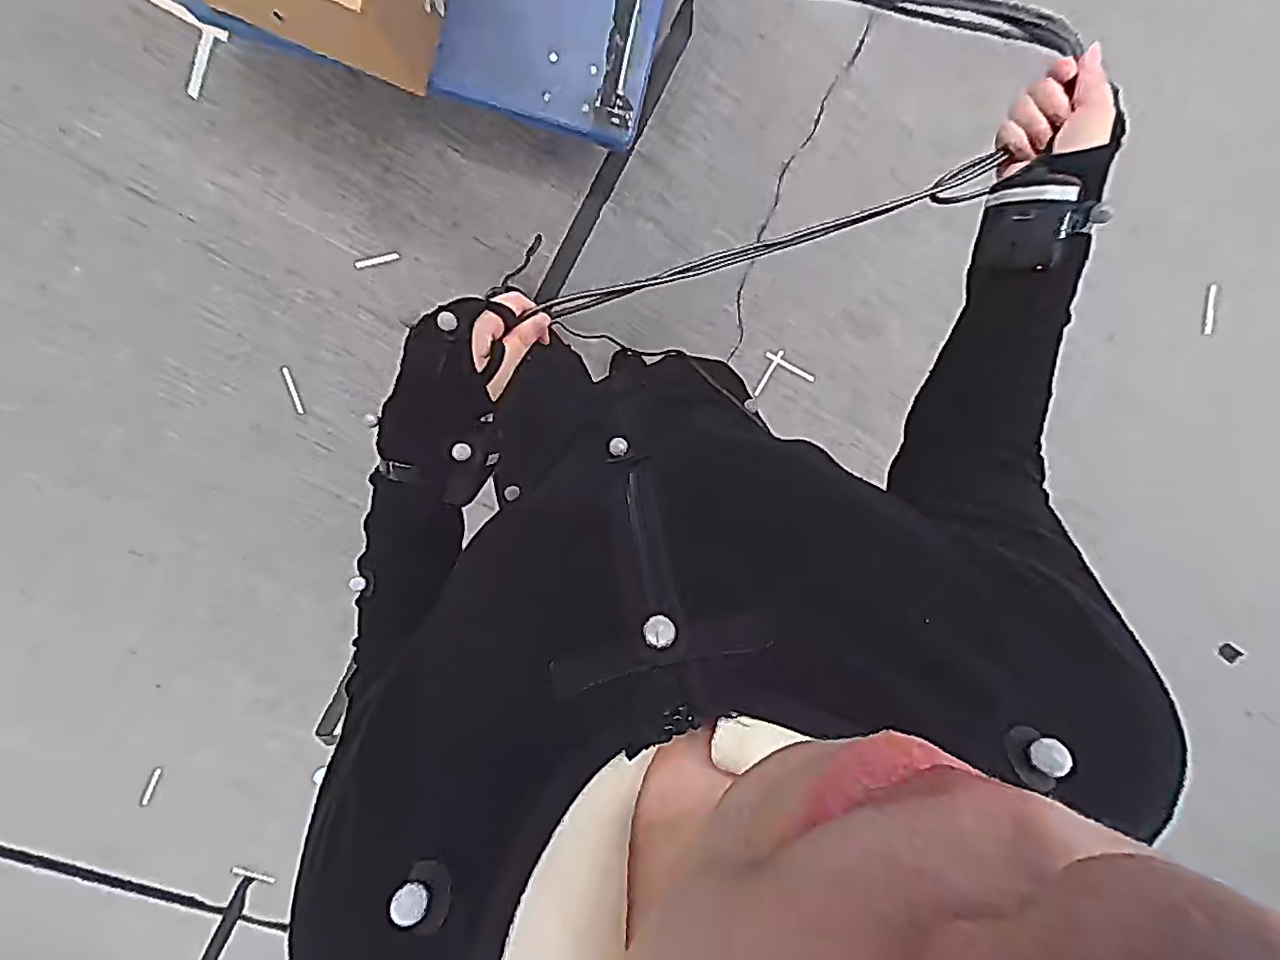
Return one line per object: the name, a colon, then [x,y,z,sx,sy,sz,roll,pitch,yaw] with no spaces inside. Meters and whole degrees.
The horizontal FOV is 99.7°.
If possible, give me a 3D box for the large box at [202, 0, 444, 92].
large box: [-0.545,-0.904,0.848,0.408,0.320,0.320,18,103,-9]
